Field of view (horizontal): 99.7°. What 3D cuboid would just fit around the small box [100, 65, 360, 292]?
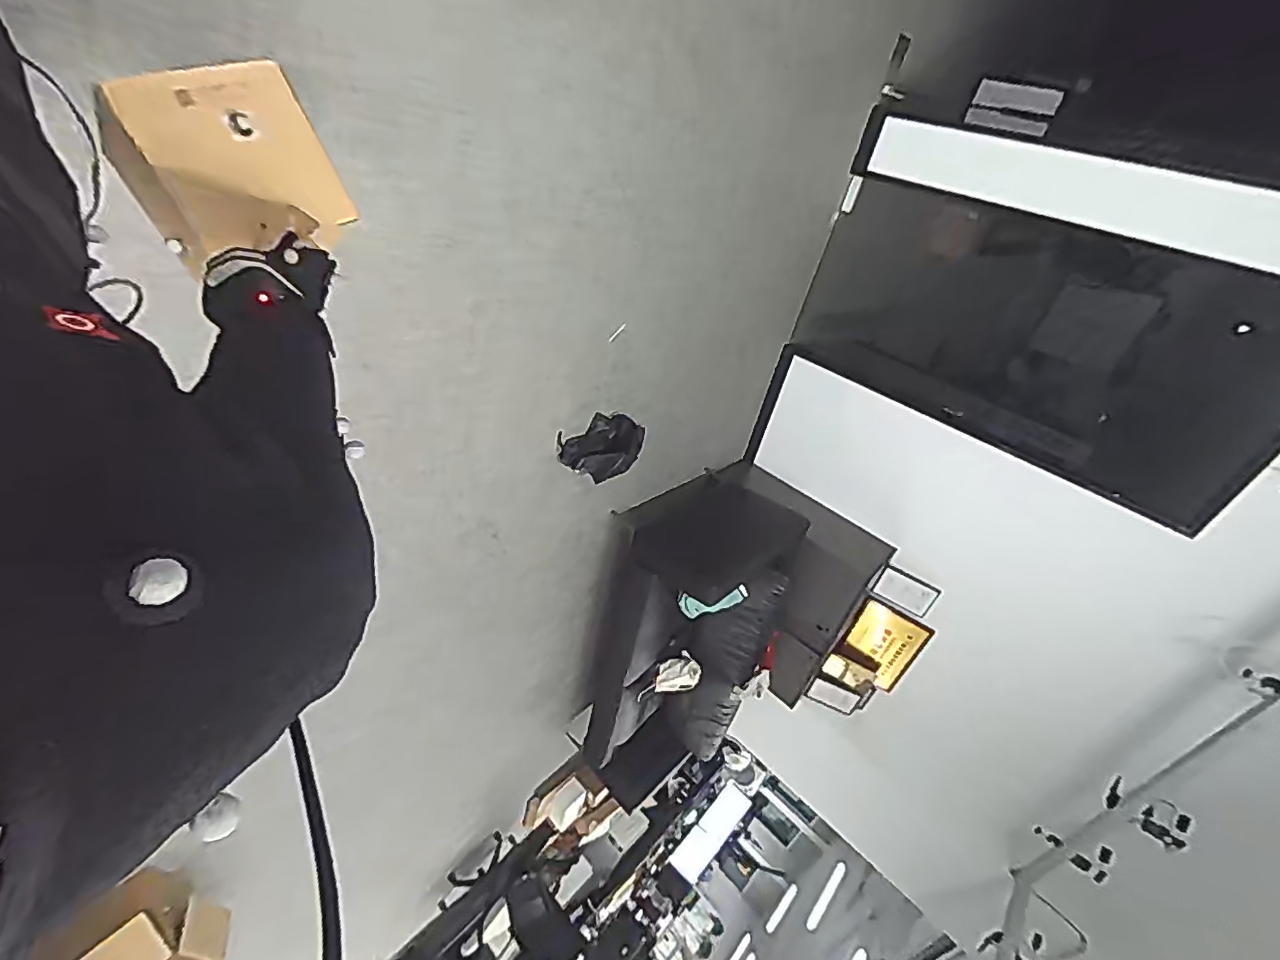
[{"bbox_3d":[-0.472,-0.344,0.631,0.168,0.179,0.176,-41,119,-33],"label":"small box"}]
